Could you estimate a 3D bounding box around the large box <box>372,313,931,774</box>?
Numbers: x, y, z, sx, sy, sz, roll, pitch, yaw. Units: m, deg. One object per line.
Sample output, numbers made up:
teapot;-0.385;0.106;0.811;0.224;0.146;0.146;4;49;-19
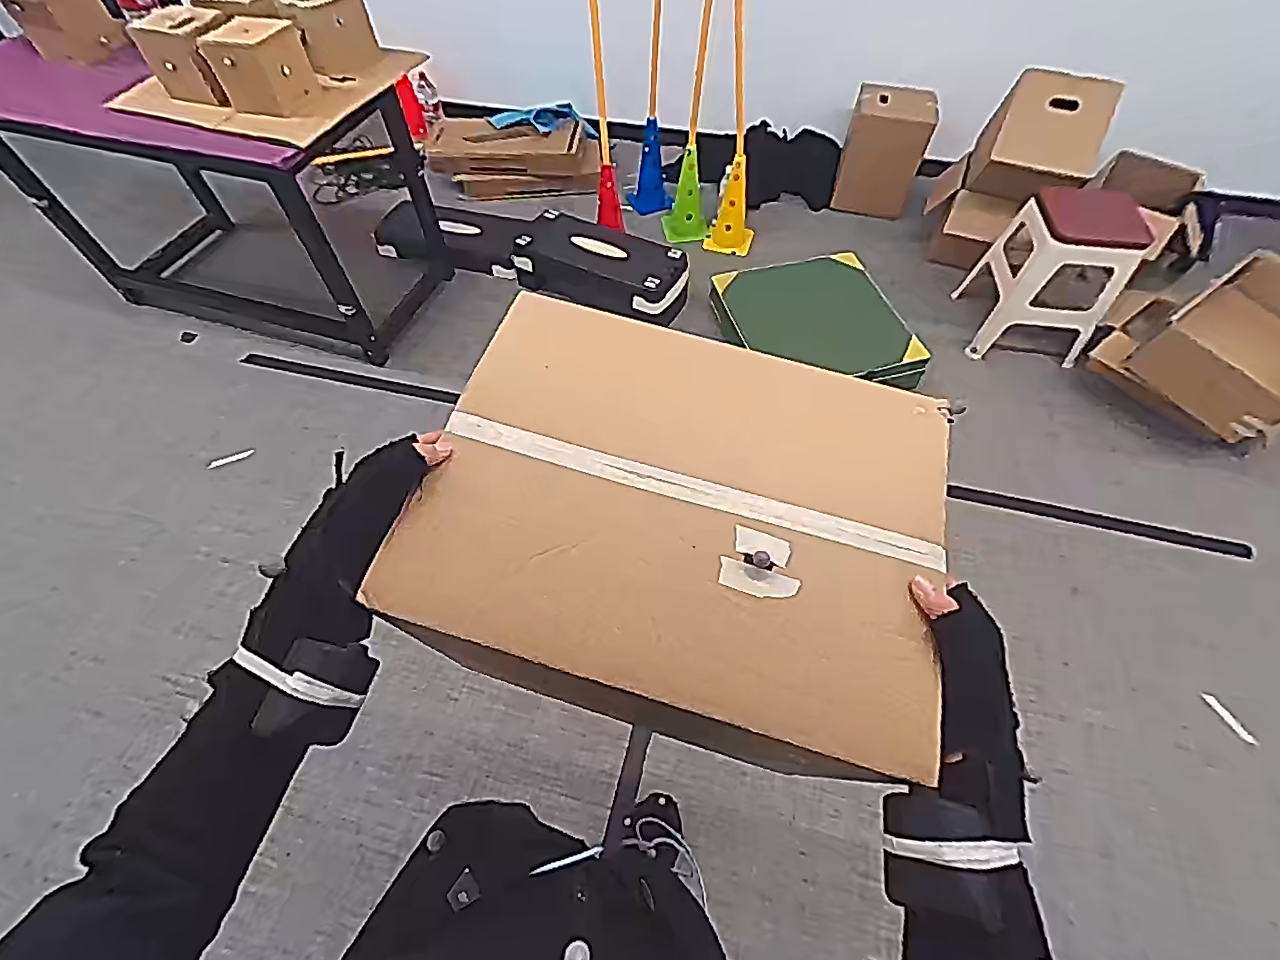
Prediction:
large box;0.025;0.084;0.572;0.408;0.320;0.320;16;64;4
